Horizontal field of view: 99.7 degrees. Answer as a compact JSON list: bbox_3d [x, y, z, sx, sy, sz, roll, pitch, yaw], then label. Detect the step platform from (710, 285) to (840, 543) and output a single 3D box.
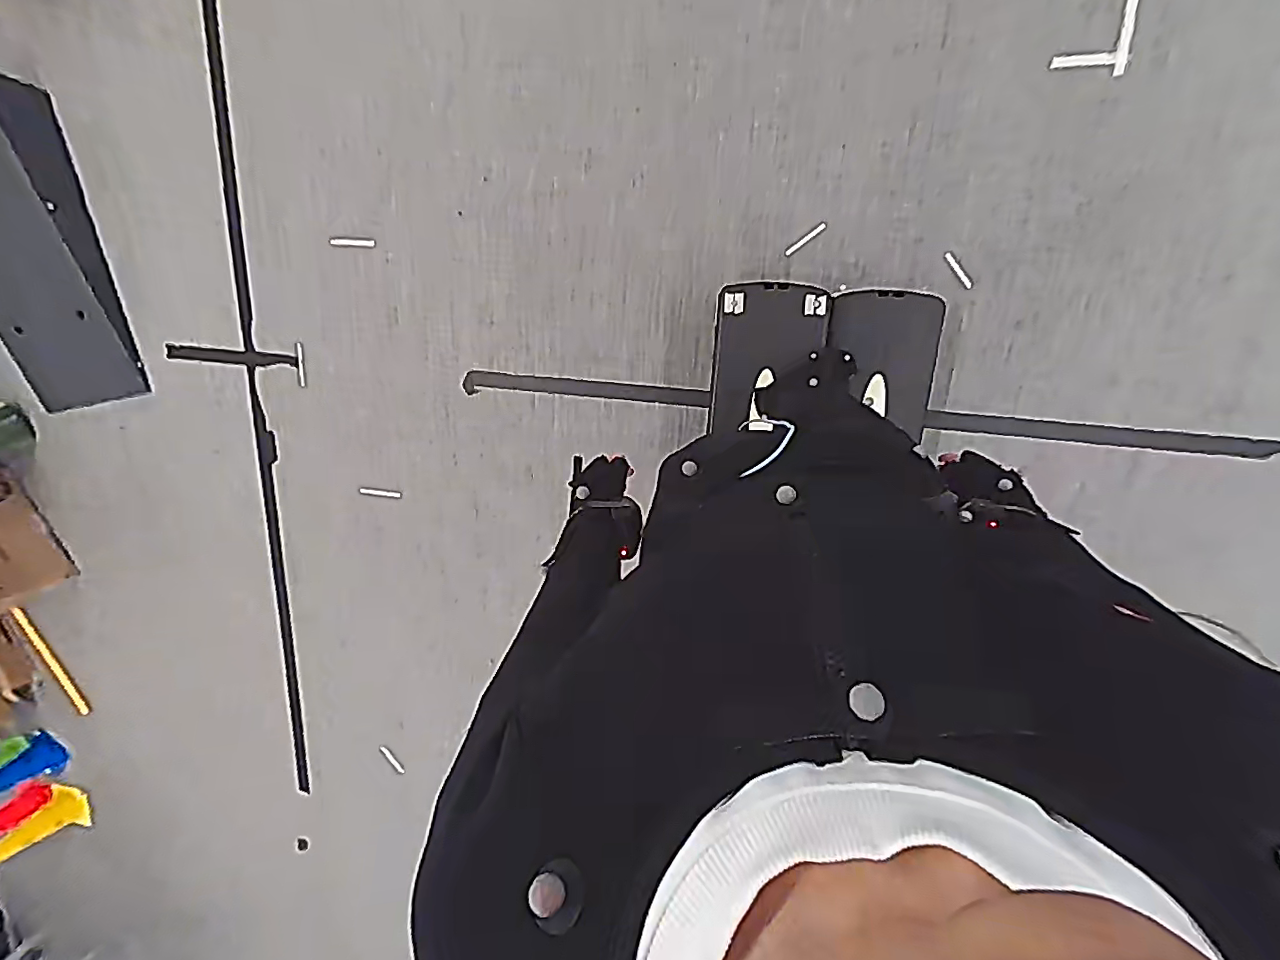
[{"bbox_3d":[0.356,-0.170,1.477,0.286,0.204,0.684,4,103,9],"label":"step platform"}]
